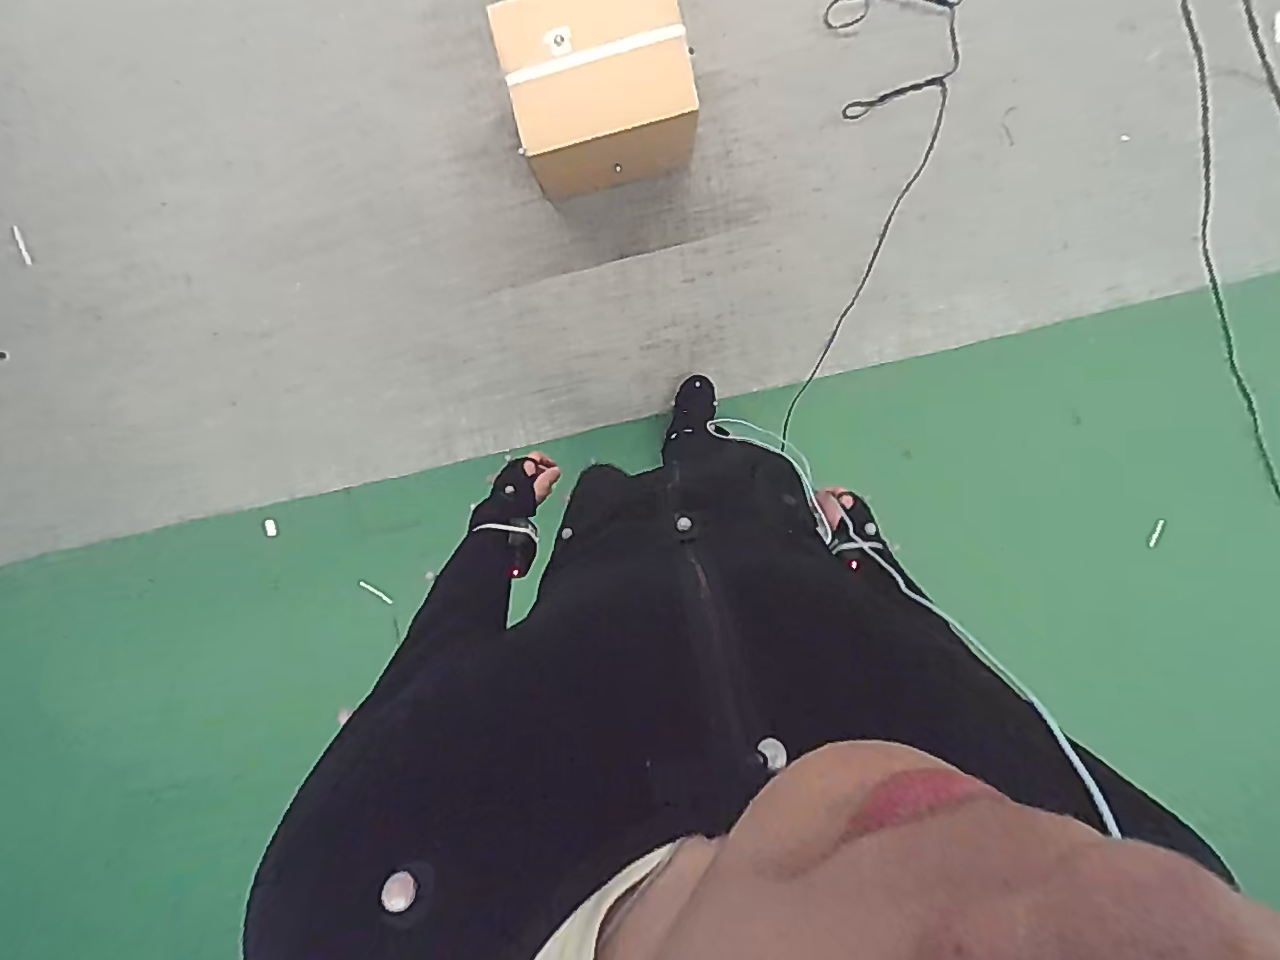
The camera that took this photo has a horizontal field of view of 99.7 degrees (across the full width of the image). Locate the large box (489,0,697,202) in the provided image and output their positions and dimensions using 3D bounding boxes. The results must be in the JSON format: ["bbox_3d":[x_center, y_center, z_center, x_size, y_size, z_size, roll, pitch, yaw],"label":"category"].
[{"bbox_3d":[-0.096,-0.944,1.333,0.408,0.320,0.320,-14,98,5],"label":"large box"}]
